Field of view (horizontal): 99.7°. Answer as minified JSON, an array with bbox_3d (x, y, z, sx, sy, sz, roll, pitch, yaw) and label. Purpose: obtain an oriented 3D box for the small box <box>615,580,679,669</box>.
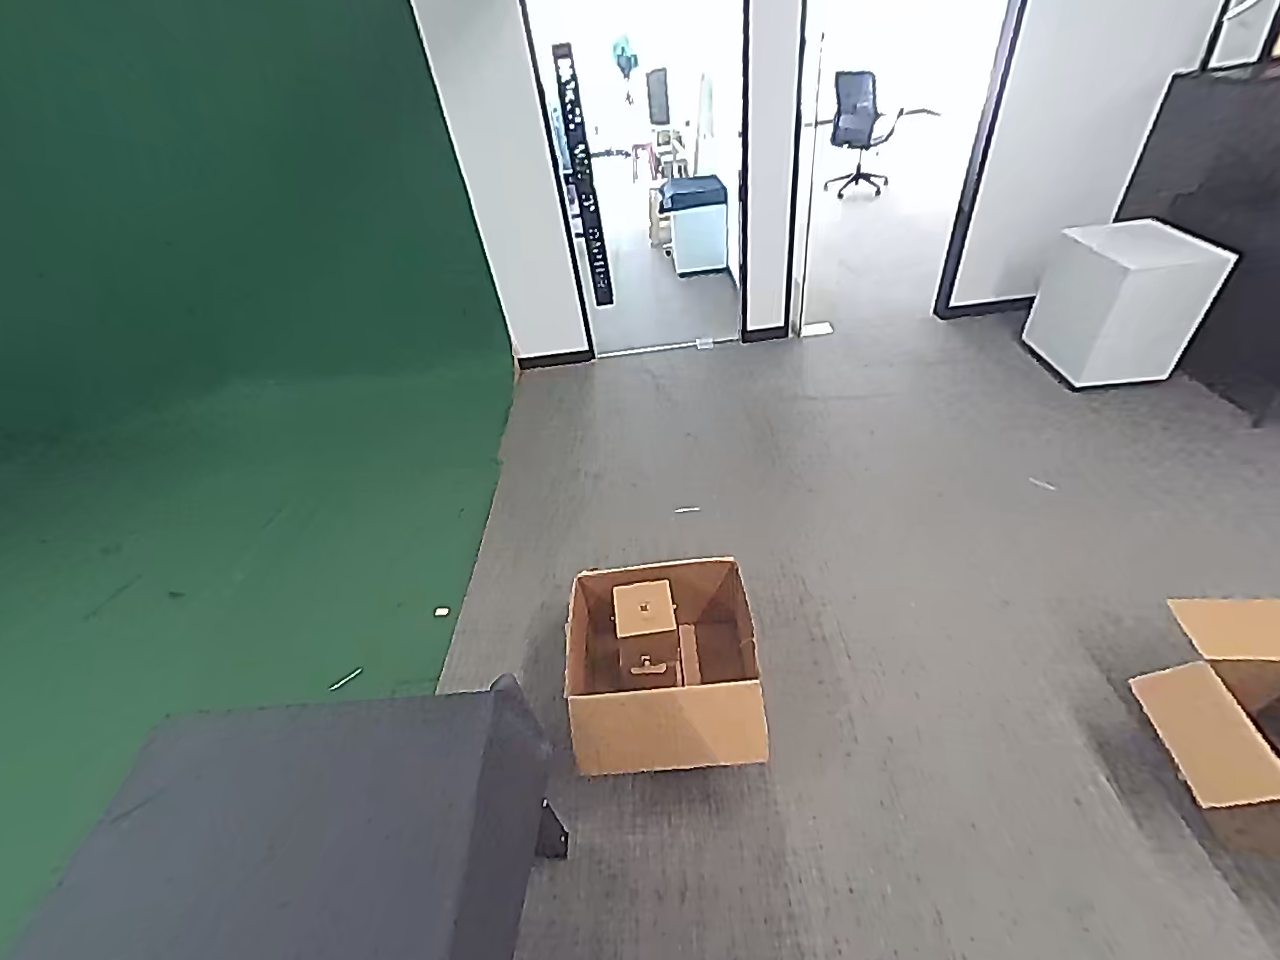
[{"bbox_3d":[0.020,0.416,1.556,0.168,0.176,0.179,-7,41,-2],"label":"small box"}]
